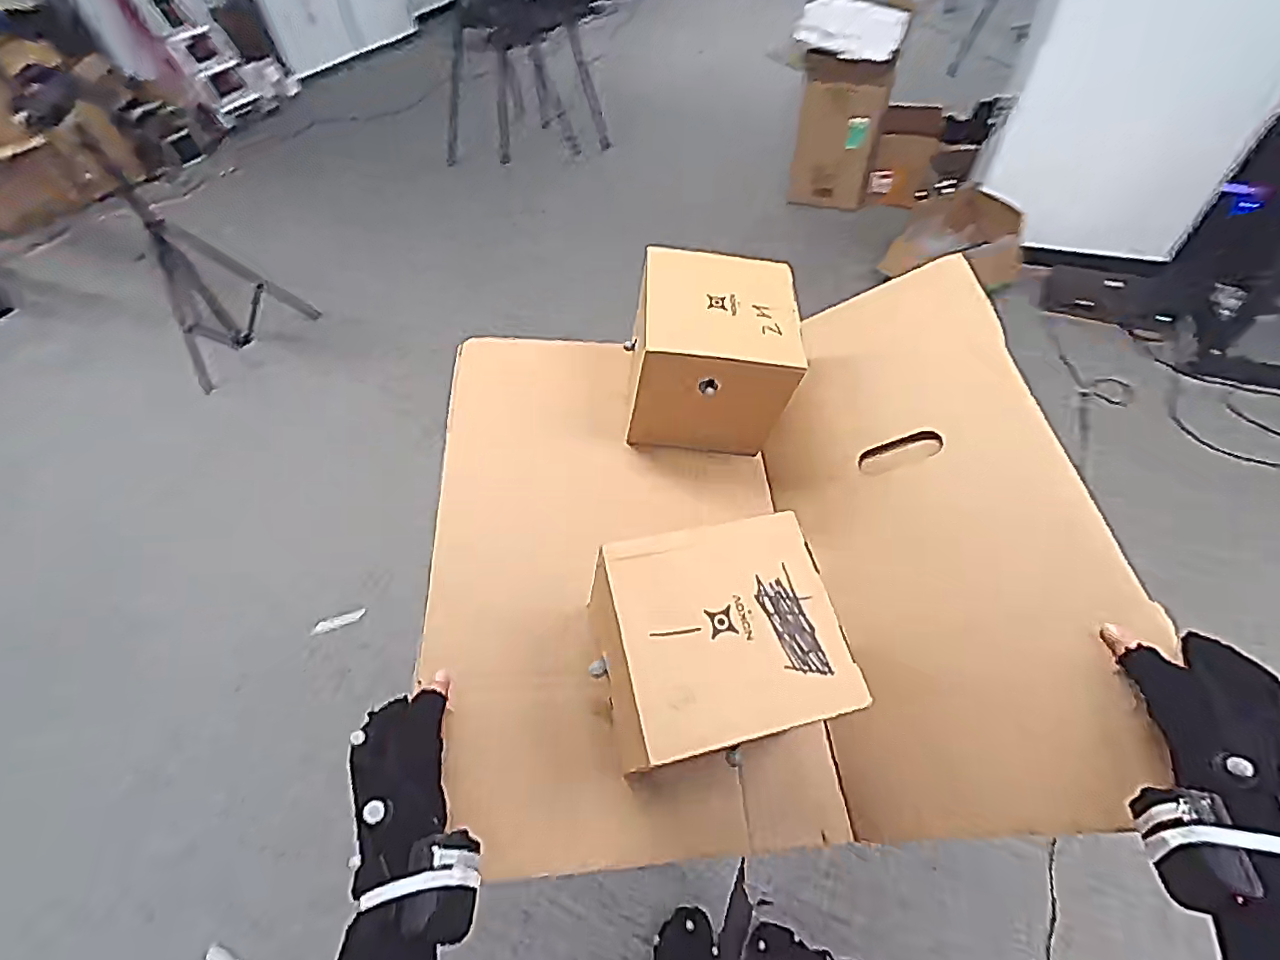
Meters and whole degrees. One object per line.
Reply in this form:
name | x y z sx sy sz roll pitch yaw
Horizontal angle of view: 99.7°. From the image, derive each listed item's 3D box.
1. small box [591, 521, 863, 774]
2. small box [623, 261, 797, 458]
small box | 0.059 0.157 0.495 0.179 0.176 0.168 -9 62 -13
small box | 0.074 -0.142 0.674 0.179 0.176 0.168 5 59 -7
